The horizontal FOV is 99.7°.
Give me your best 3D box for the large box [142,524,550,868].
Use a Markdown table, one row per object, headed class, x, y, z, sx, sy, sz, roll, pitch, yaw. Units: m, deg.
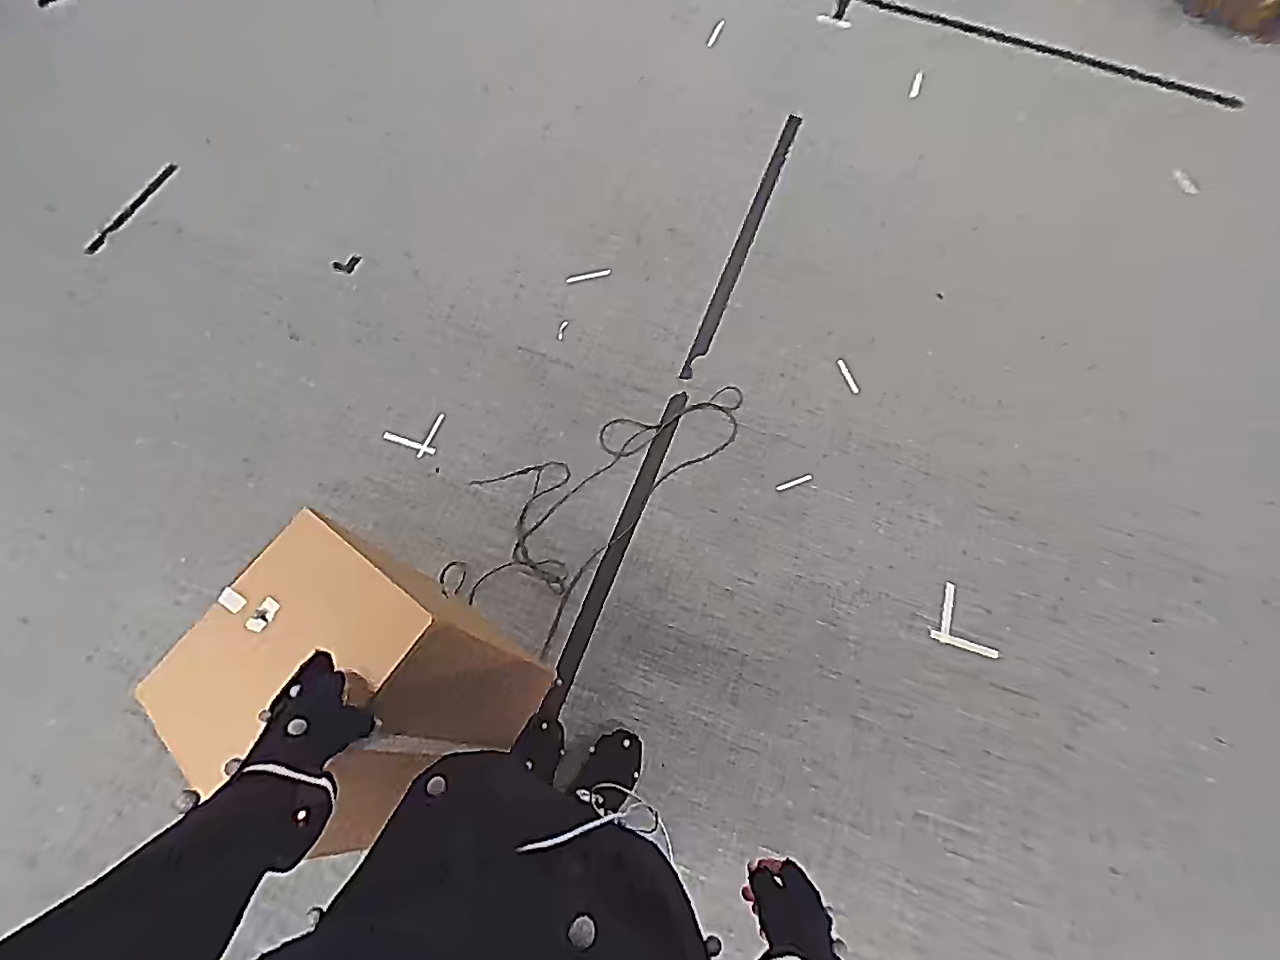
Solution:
| class | x | y | z | sx | sy | sz | roll | pitch | yaw |
| --- | --- | --- | --- | --- | --- | --- | --- | --- | --- |
| large box | -0.416 | 0.325 | 0.854 | 0.320 | 0.408 | 0.320 | 28 | 73 | 27 |
